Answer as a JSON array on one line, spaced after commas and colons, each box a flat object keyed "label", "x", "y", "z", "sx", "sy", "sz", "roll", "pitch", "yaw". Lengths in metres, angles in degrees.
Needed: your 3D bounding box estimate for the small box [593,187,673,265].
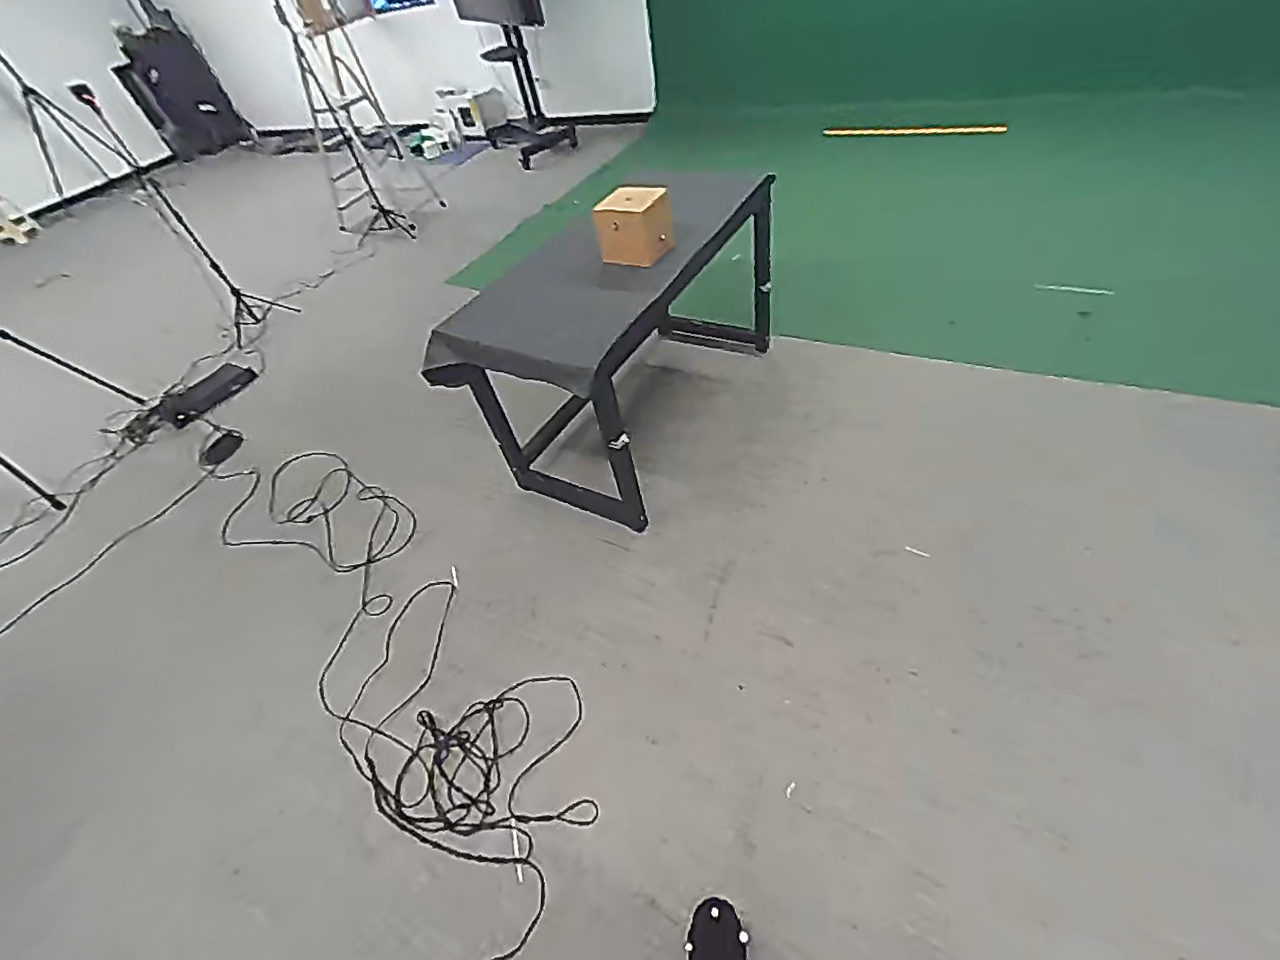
[{"label": "small box", "x": -0.017, "y": -0.786, "z": 1.676, "sx": 0.179, "sy": 0.176, "sz": 0.168, "roll": 17, "pitch": 54, "yaw": 27}]
